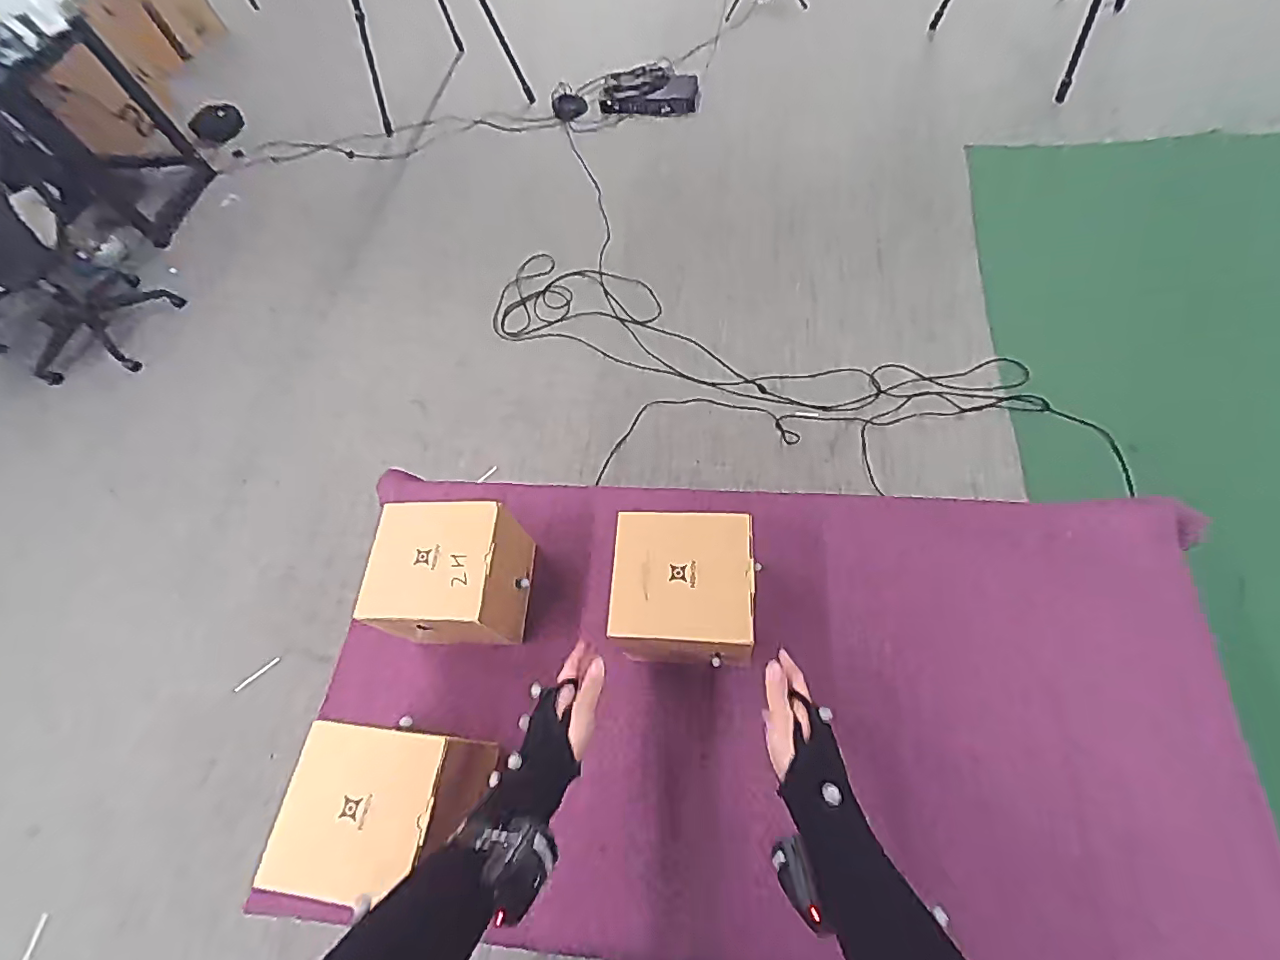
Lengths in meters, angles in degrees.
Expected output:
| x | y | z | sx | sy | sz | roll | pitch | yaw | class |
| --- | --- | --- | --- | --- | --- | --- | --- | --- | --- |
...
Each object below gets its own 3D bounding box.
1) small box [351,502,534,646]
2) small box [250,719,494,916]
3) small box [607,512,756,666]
| x | y | z | sx | sy | sz | roll | pitch | yaw | class |
| --- | --- | --- | --- | --- | --- | --- | --- | --- | --- |
| -0.272 | 0.142 | 0.789 | 0.179 | 0.176 | 0.168 | 0 | 63 | 8 | small box |
| -0.304 | 0.398 | 0.657 | 0.179 | 0.176 | 0.168 | 3 | 61 | 9 | small box |
| 0.063 | 0.153 | 0.736 | 0.179 | 0.176 | 0.168 | 0 | 62 | 9 | small box |
